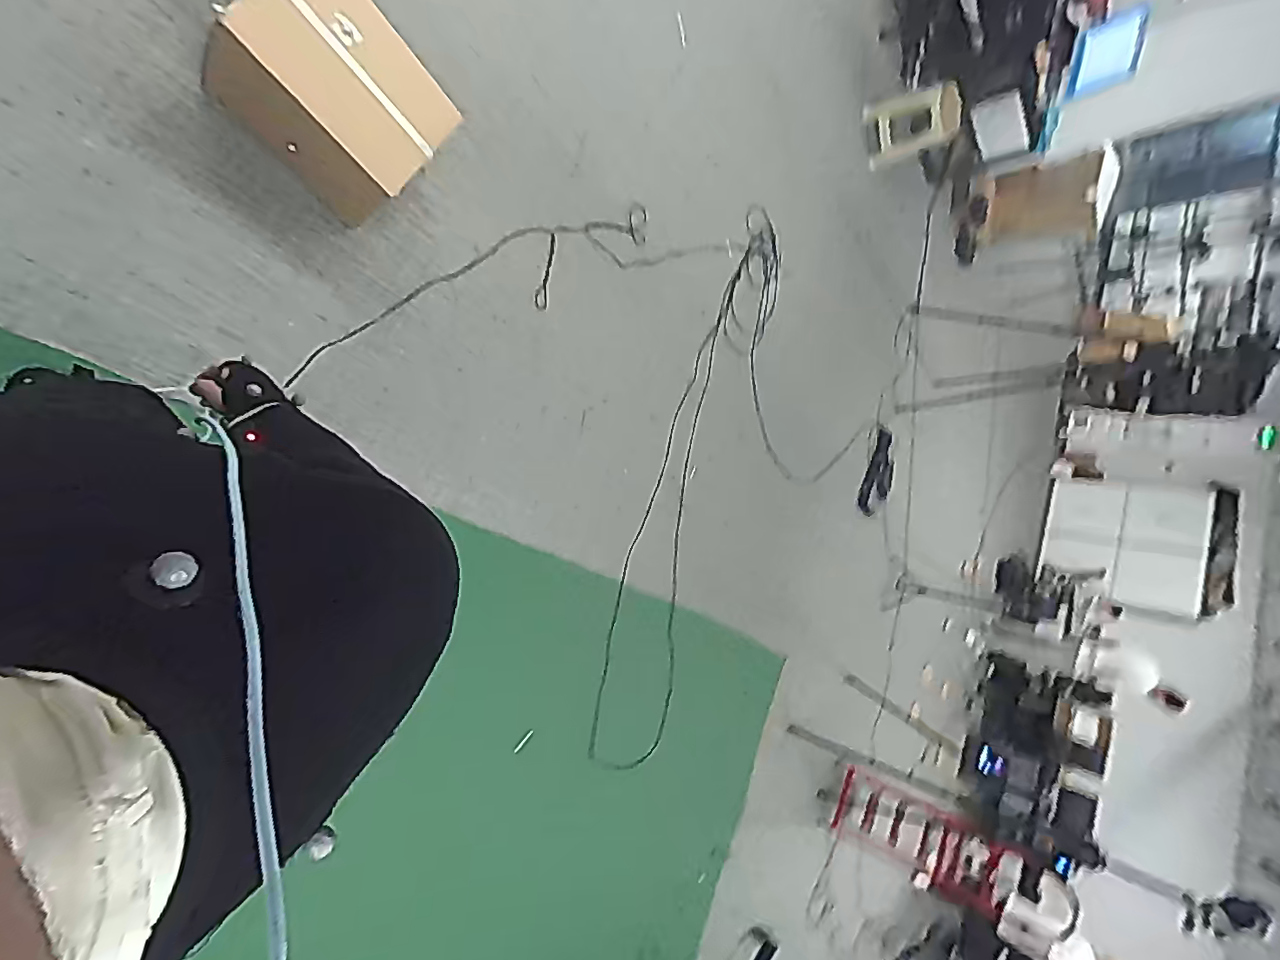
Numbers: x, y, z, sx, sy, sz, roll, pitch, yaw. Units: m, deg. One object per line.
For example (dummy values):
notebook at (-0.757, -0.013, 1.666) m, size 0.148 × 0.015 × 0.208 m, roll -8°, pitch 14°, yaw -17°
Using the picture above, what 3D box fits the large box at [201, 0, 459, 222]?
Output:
large box at (-0.735, -0.921, 1.305) m, size 0.408 × 0.320 × 0.320 m, roll 43°, pitch 66°, yaw -37°
